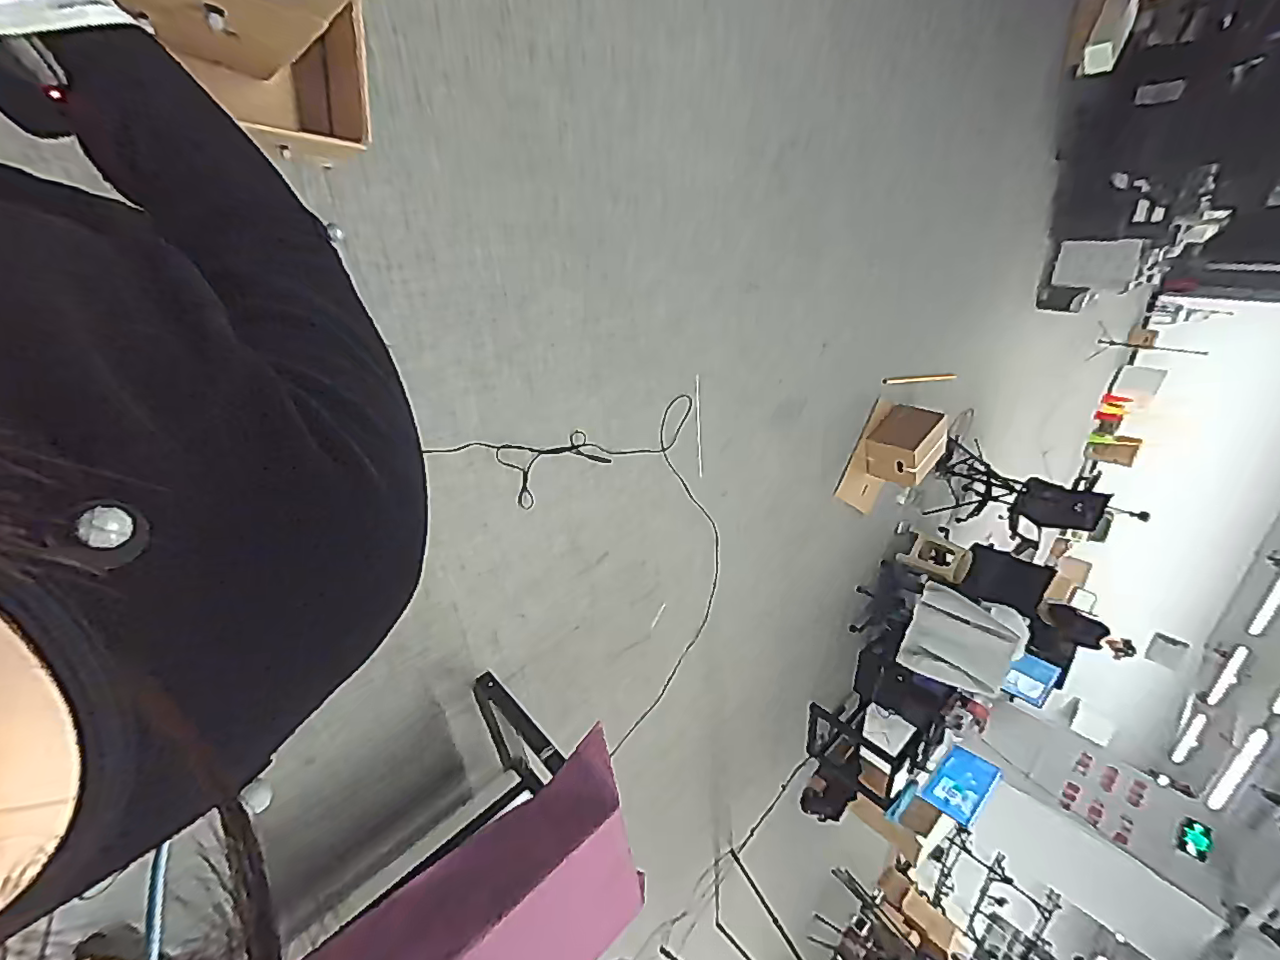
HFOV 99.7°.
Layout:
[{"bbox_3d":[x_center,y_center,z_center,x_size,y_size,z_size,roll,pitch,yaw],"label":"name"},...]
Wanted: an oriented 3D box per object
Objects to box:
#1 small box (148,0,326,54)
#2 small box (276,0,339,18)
[{"bbox_3d":[-0.405,-0.546,0.510,0.168,0.176,0.179,-5,113,-42],"label":"small box"},{"bbox_3d":[-0.300,-0.494,0.396,0.168,0.176,0.179,-5,111,-42],"label":"small box"}]
